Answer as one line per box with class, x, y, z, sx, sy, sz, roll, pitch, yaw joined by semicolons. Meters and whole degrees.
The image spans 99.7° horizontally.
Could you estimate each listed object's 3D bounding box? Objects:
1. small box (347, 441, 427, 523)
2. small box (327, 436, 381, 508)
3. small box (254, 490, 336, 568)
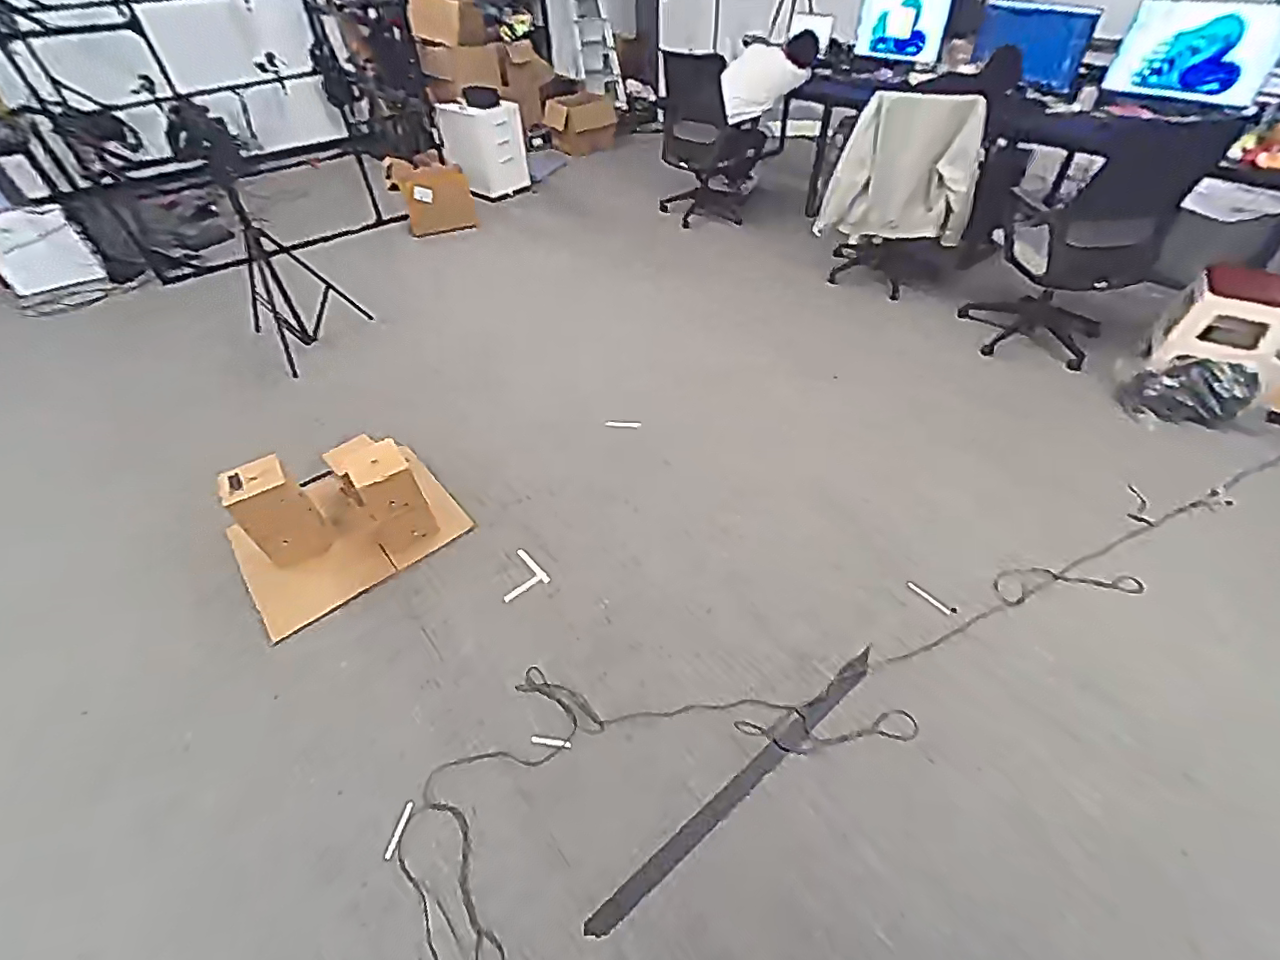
small box;-0.829;0.008;1.782;0.168;0.176;0.179;-29;52;-23
small box;-1.043;-0.030;2.059;0.179;0.176;0.168;-36;54;-28
small box;-1.187;0.173;1.863;0.179;0.176;0.168;-25;50;-19
